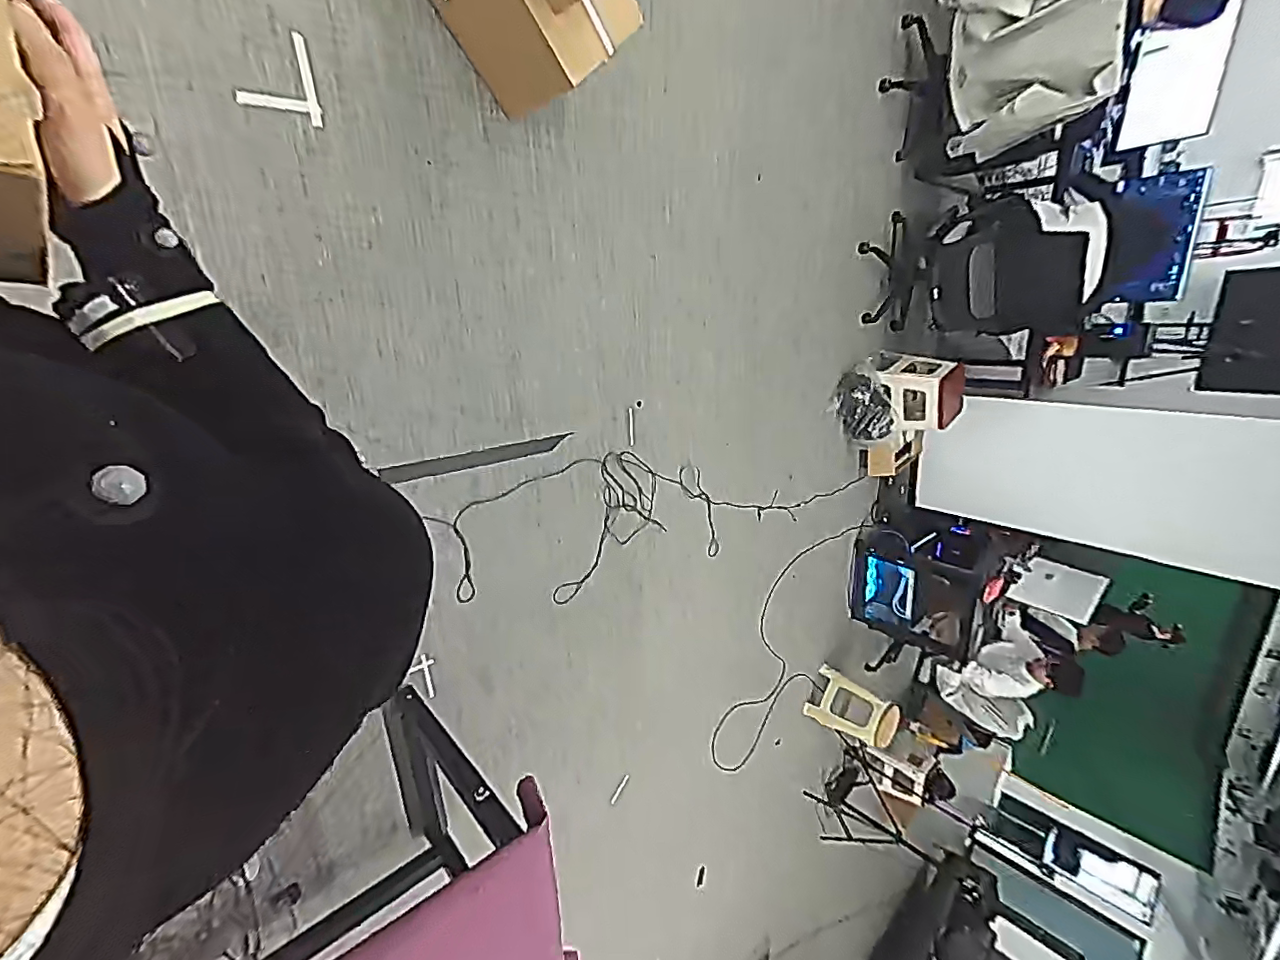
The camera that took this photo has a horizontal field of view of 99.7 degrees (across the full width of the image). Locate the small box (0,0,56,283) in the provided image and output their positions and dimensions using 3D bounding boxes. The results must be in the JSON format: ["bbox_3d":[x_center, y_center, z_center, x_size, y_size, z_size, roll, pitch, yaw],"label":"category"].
[{"bbox_3d":[-0.416,-0.217,0.259,0.168,0.176,0.179,-12,94,-47],"label":"small box"}]
